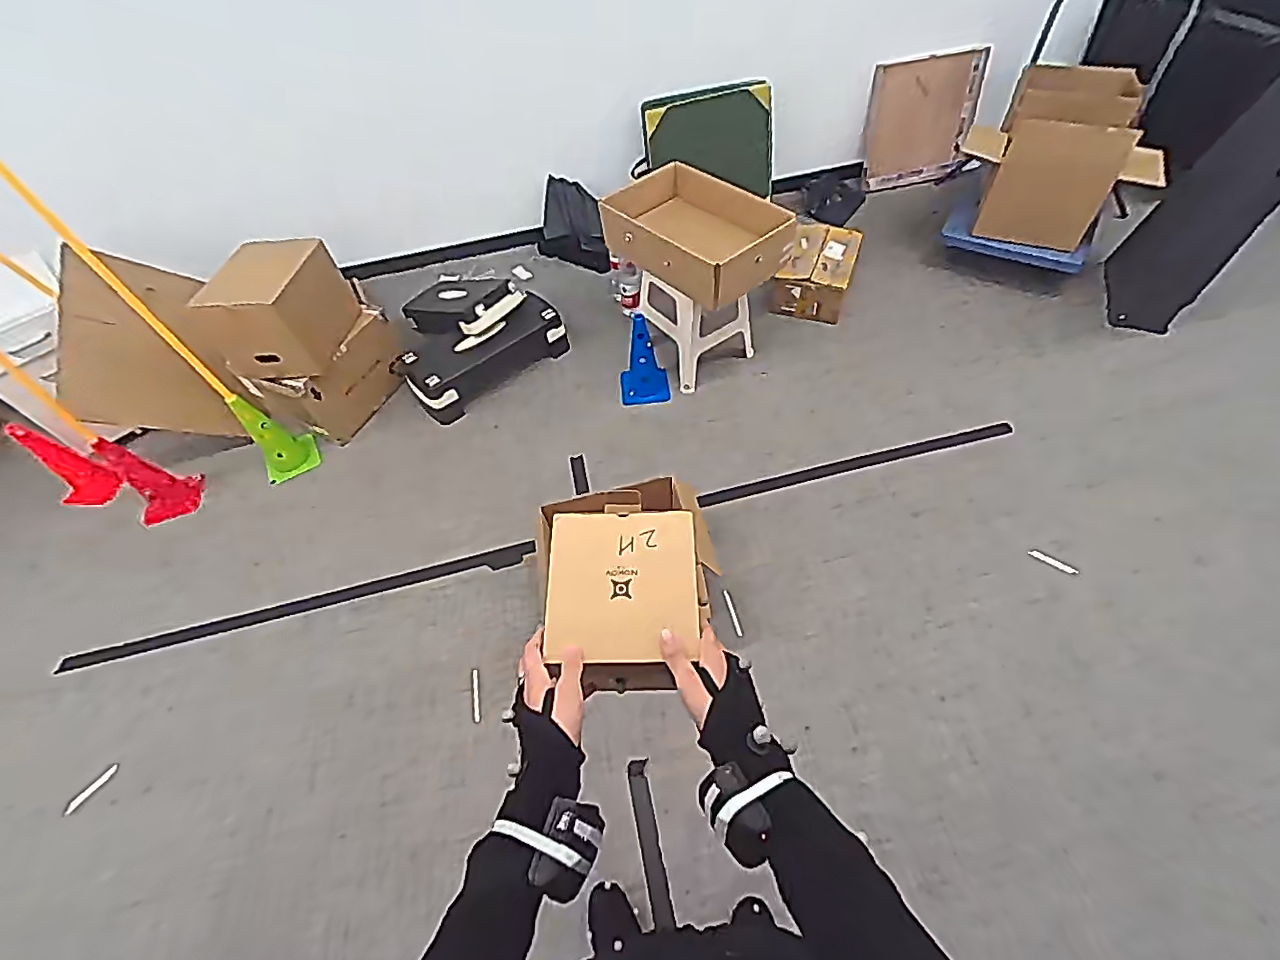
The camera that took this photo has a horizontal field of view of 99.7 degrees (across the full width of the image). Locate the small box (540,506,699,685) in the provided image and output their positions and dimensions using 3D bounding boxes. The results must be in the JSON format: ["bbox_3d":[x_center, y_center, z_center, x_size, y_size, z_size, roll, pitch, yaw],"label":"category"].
[{"bbox_3d":[-0.016,0.146,0.654,0.168,0.176,0.179,0,60,2],"label":"small box"}]
